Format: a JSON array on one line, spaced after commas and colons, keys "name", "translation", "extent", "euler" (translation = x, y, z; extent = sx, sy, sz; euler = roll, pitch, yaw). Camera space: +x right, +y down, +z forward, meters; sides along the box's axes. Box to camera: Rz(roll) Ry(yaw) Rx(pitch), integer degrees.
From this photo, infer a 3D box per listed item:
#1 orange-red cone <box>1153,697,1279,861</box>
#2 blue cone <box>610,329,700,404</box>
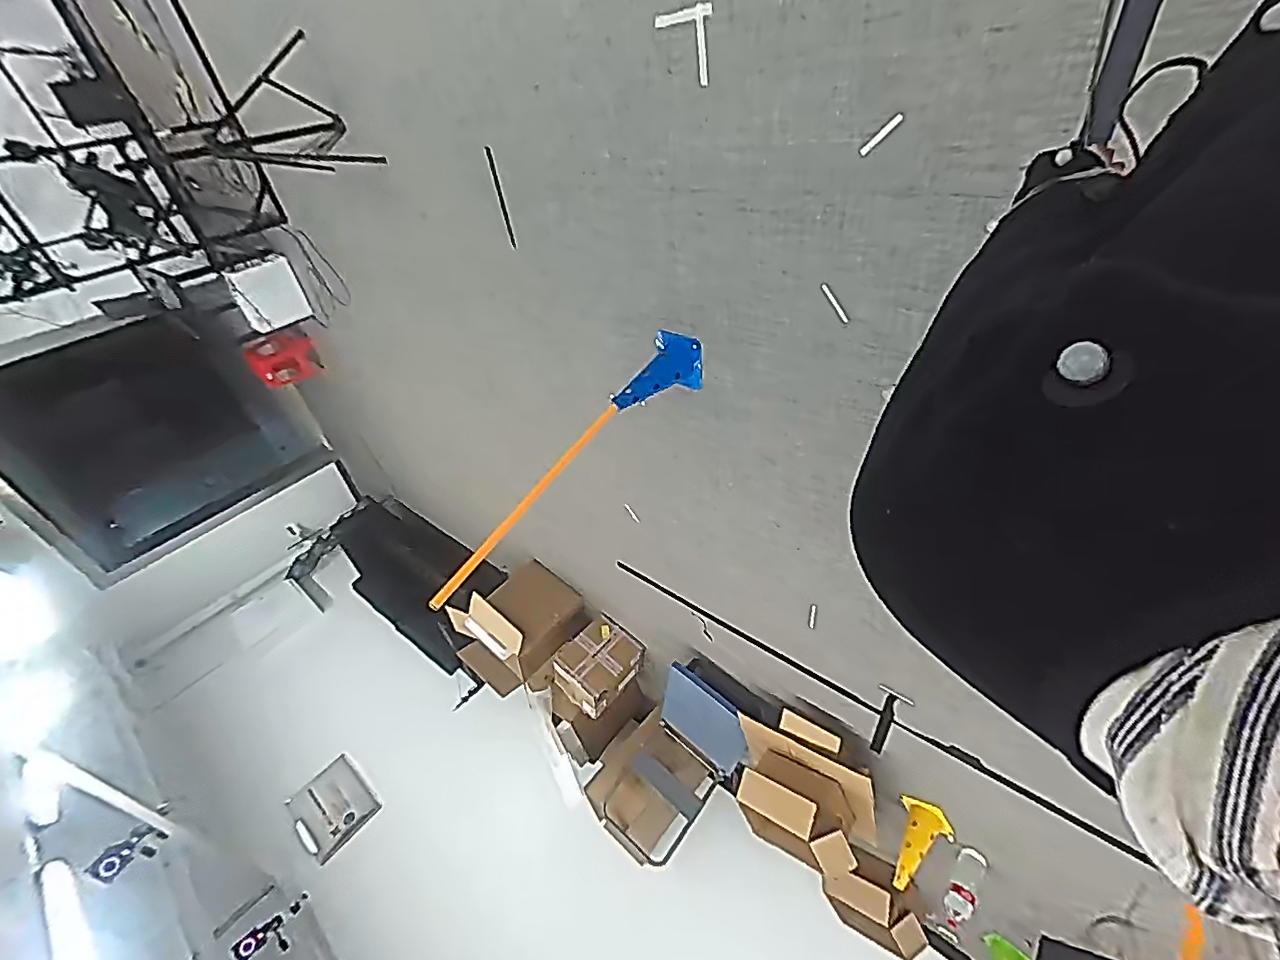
[{"name": "orange-red cone", "translation": [1.400, 0.761, 1.327], "extent": [0.198, 0.360, 0.199], "euler": [27, 142, 32]}, {"name": "blue cone", "translation": [0.034, -0.356, 1.872], "extent": [0.193, 0.380, 0.192], "euler": [27, 140, 31]}]
